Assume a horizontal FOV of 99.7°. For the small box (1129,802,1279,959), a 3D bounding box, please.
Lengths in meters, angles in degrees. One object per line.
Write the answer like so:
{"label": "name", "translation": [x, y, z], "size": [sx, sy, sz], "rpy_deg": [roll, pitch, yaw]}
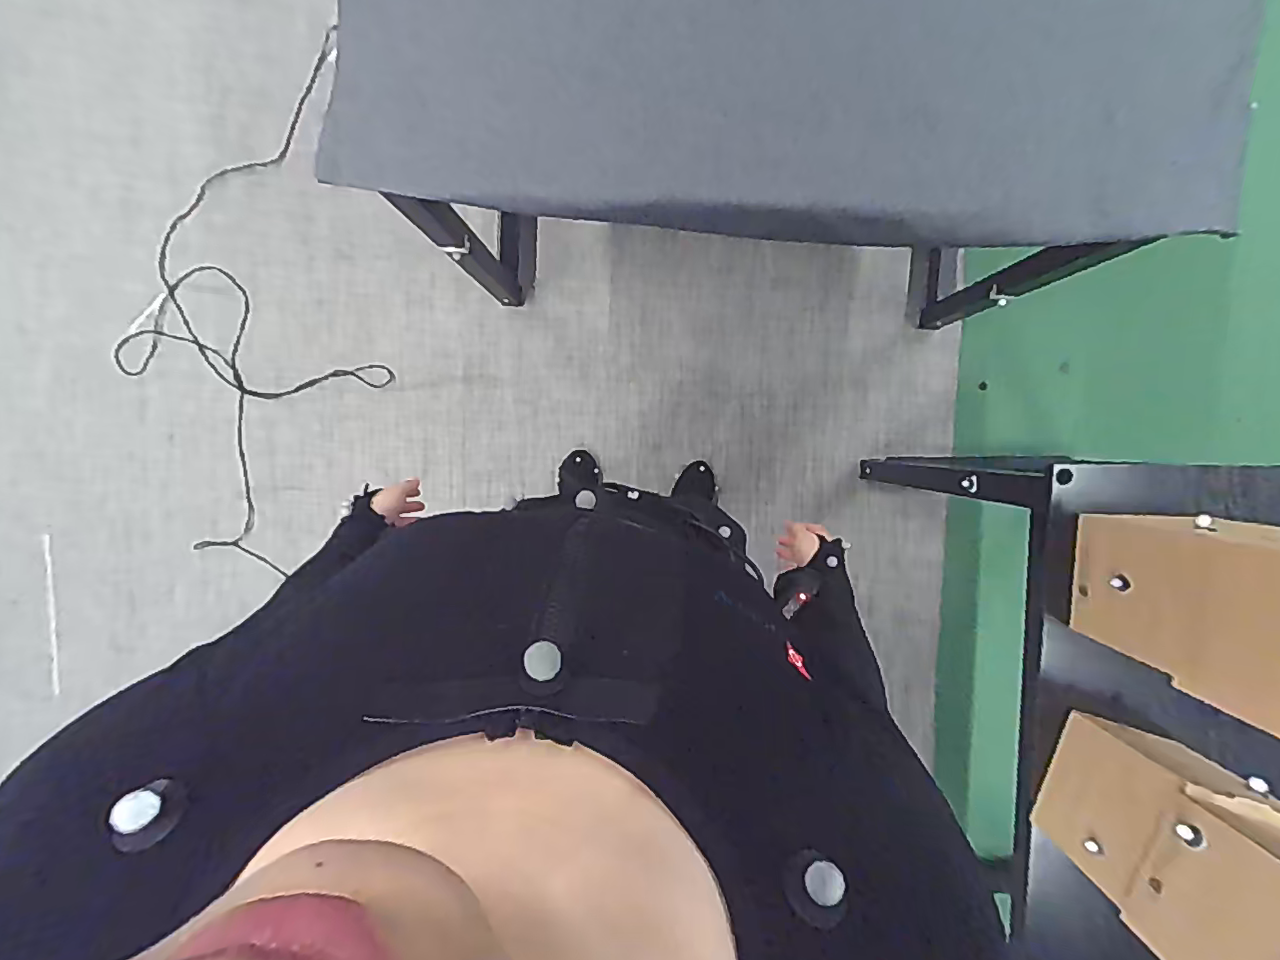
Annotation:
{"label": "small box", "translation": [0.650, 0.456, 0.527], "size": [0.179, 0.176, 0.168], "rpy_deg": [19, 95, -1]}

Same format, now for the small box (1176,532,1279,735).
{"label": "small box", "translation": [0.665, 0.152, 0.506], "size": [0.168, 0.176, 0.179], "rpy_deg": [1, 94, 2]}

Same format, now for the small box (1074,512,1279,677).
{"label": "small box", "translation": [0.686, 0.134, 0.666], "size": [0.179, 0.176, 0.168], "rpy_deg": [1, 95, 1]}
